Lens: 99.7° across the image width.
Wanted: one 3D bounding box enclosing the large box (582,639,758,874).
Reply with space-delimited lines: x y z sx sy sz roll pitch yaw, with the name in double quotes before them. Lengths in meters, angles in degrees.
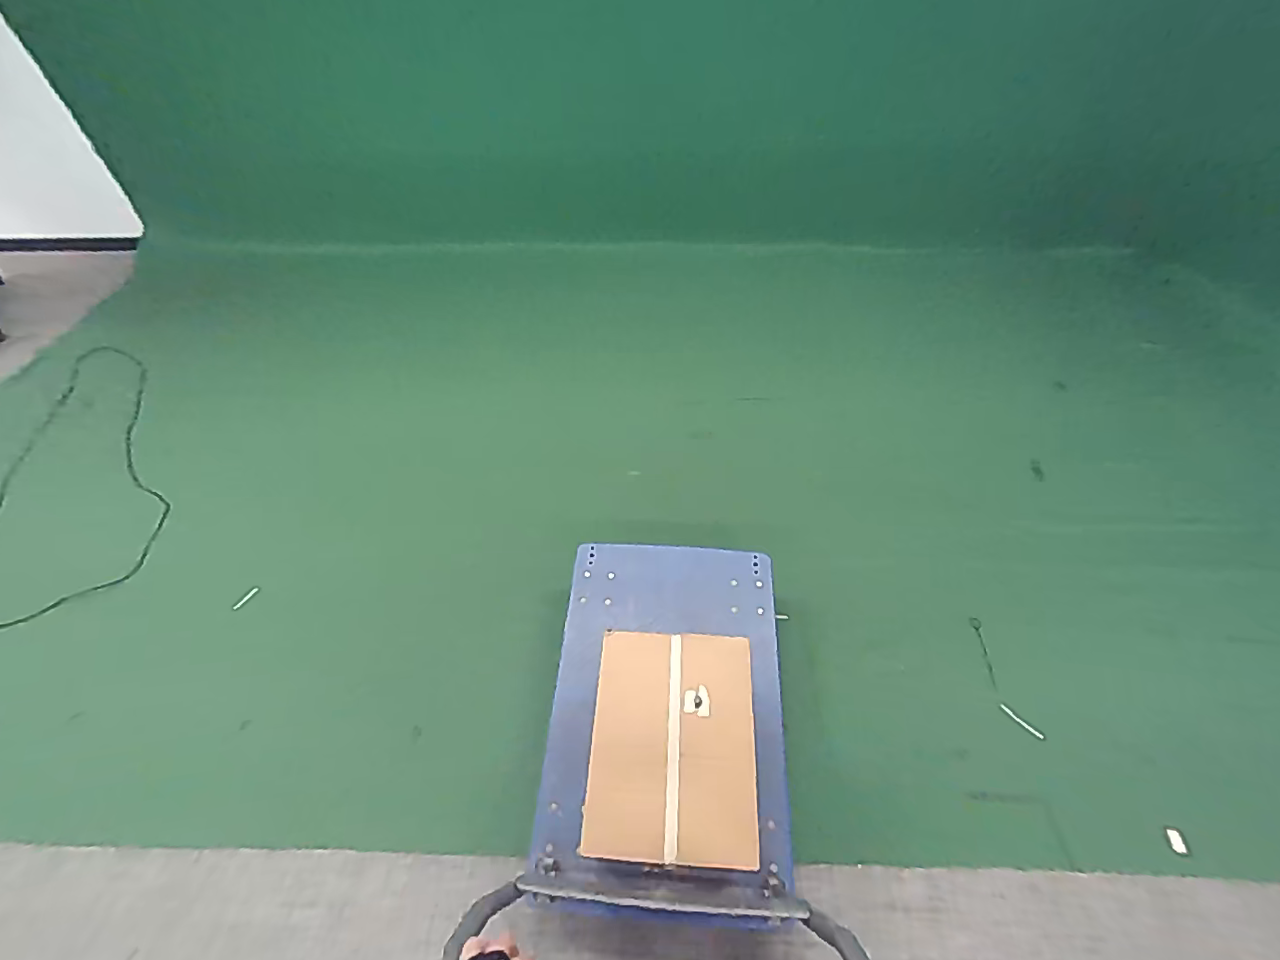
"large box" 0.067 0.599 1.169 0.320 0.320 0.408 2 54 4
